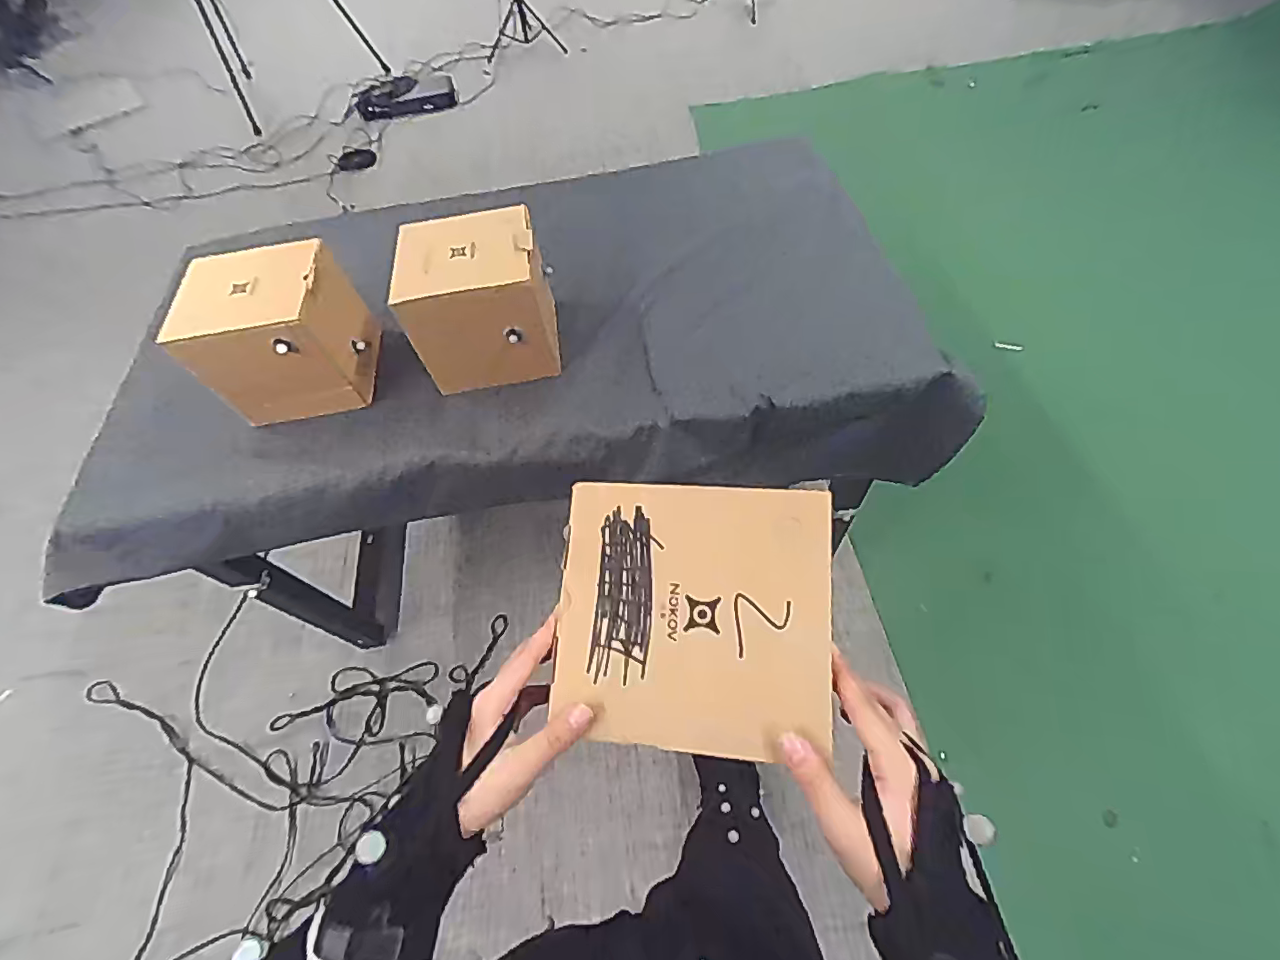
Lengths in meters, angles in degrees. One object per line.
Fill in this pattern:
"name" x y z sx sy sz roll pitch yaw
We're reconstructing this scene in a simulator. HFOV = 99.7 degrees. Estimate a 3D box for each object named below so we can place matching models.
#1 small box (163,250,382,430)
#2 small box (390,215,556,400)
"small box" -0.496 -0.189 0.763 0.179 0.176 0.168 -11 57 -1
"small box" -0.220 -0.236 0.760 0.179 0.176 0.168 -11 56 1
